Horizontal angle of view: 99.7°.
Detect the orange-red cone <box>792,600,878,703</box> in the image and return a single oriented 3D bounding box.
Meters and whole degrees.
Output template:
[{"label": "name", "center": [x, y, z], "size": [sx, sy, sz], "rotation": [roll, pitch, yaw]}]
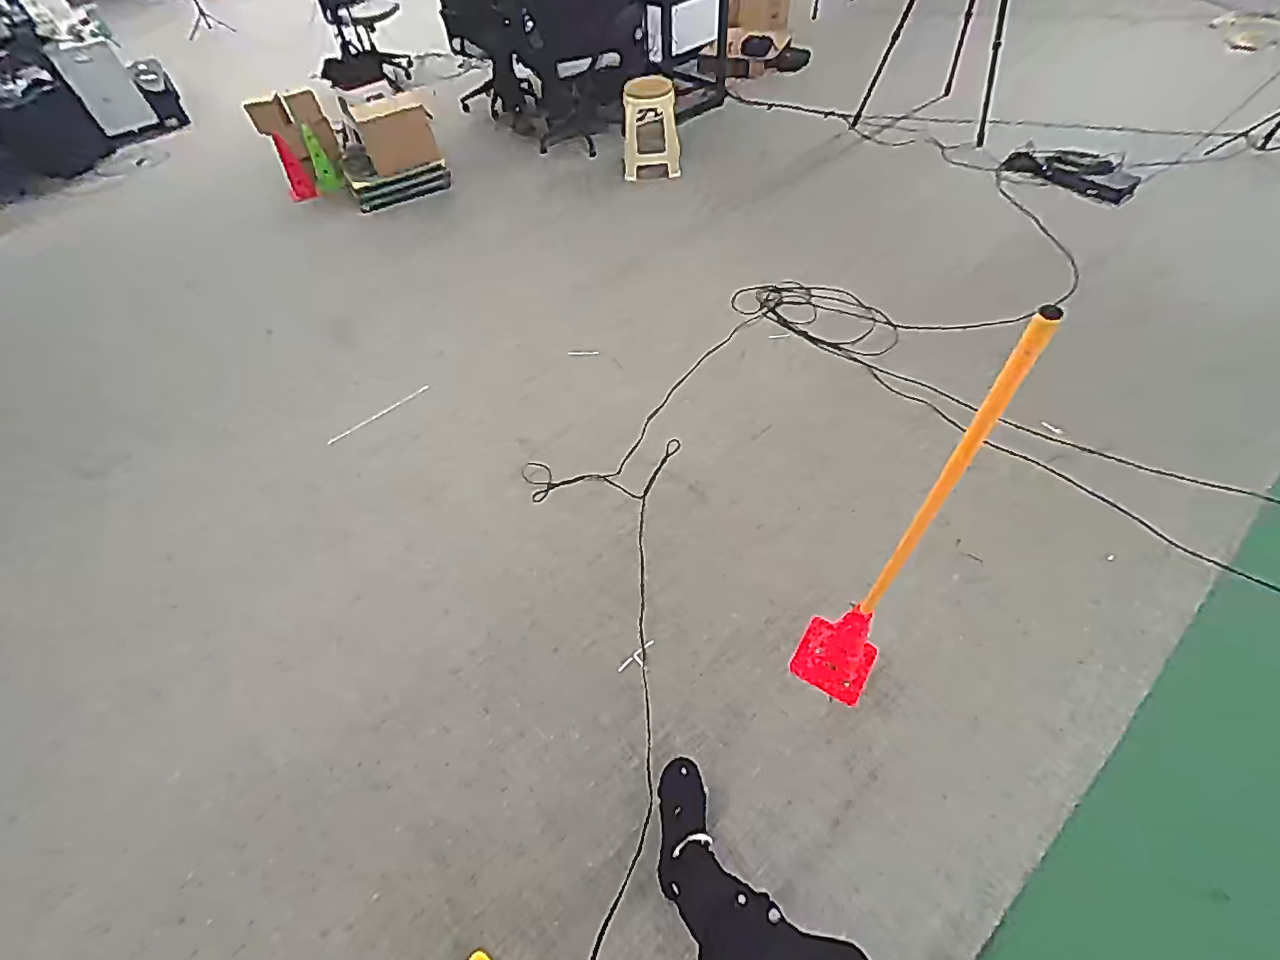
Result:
[{"label": "orange-red cone", "center": [0.548, 0.403, 1.409], "size": [0.198, 0.360, 0.199], "rotation": [28, 59, 22]}]
